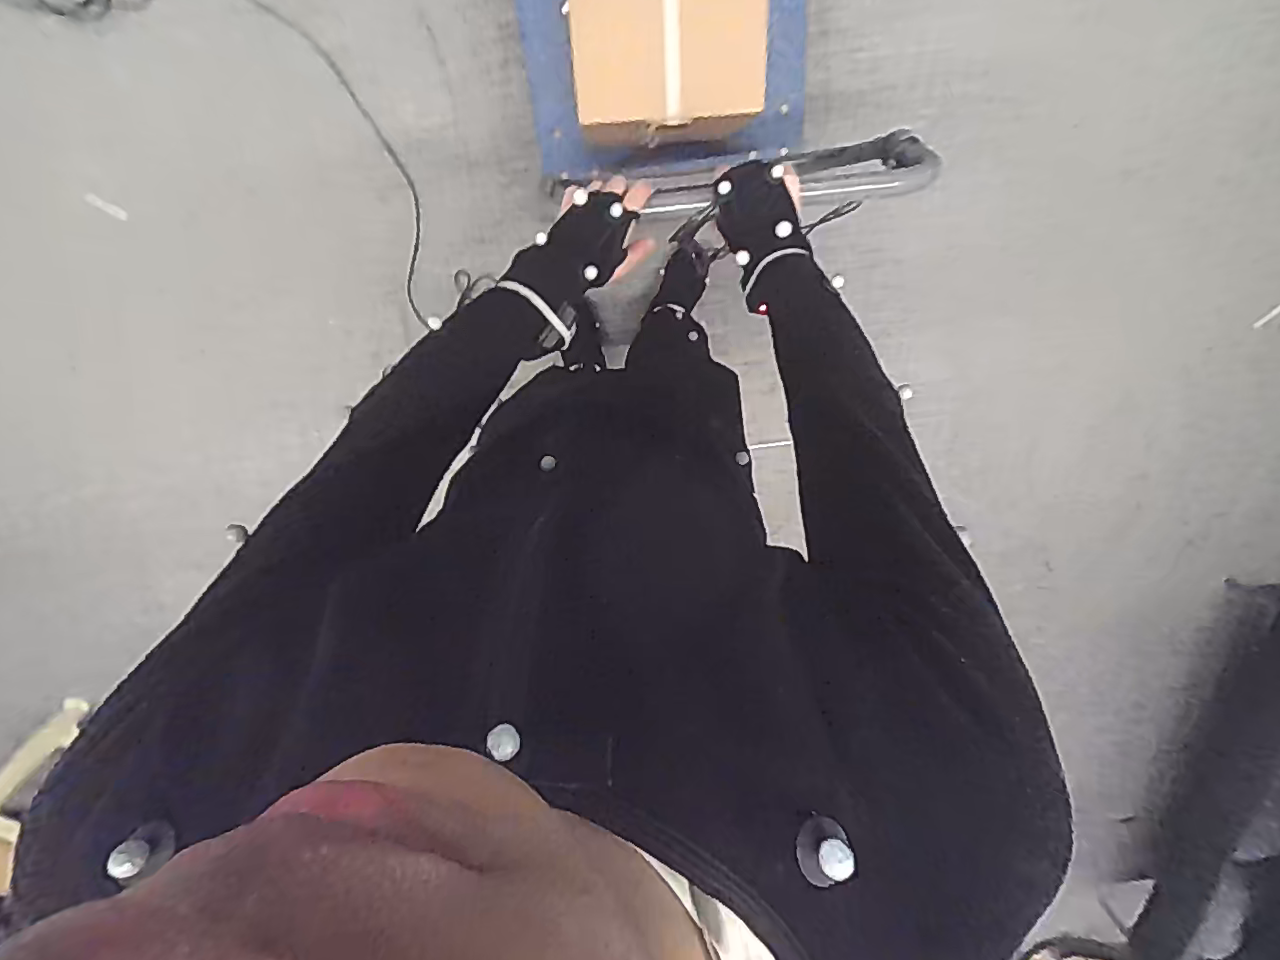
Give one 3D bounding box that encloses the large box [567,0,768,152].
[{"bbox_3d":[0.036,-0.837,0.947,0.320,0.320,0.408,-4,115,-1],"label":"large box"}]
